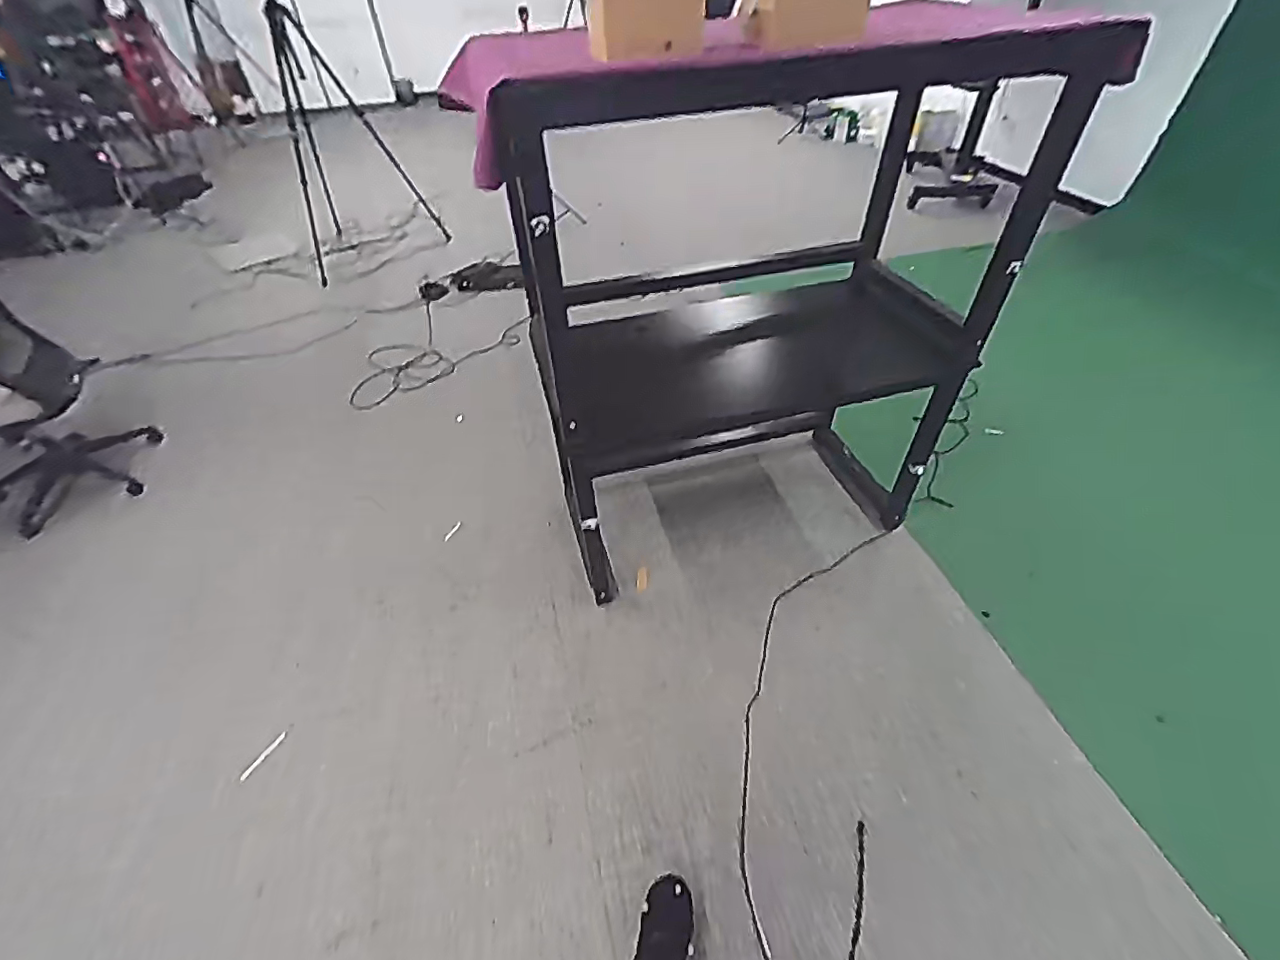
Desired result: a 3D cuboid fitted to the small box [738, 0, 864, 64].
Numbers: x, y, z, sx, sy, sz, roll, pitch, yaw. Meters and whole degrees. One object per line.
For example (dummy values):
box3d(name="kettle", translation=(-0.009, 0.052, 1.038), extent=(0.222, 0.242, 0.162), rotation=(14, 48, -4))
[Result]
box3d(name="small box", translation=(0.283, -0.855, 0.951), extent=(0.179, 0.176, 0.168), rotation=(-10, 44, -5))
